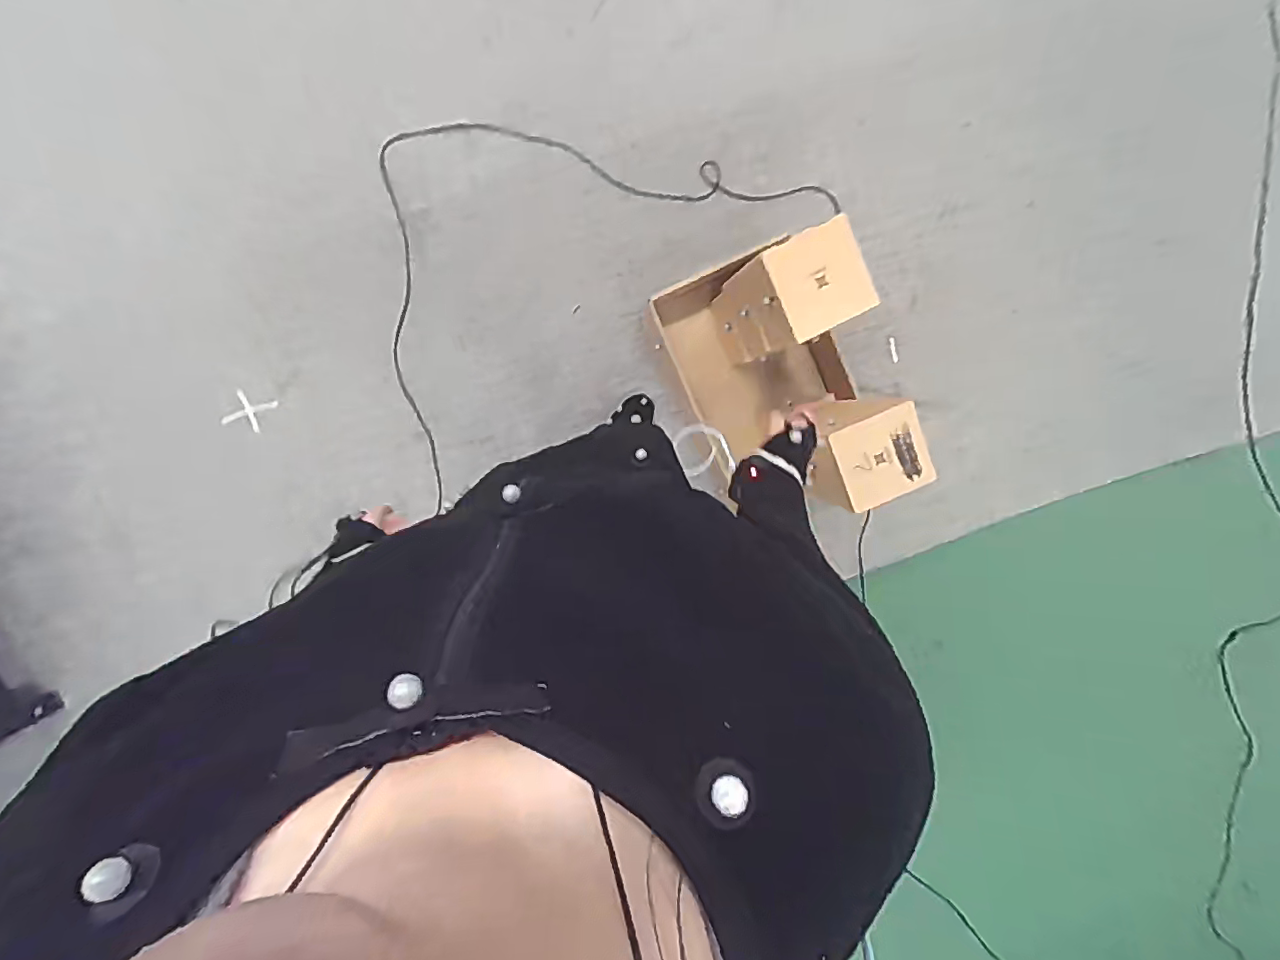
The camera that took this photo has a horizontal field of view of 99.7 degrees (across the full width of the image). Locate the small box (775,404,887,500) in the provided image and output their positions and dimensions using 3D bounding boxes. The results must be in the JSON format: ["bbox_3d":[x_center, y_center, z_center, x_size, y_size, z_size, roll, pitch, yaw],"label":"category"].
[{"bbox_3d":[0.429,-0.069,1.252,0.179,0.176,0.168,-22,100,-3],"label":"small box"}]

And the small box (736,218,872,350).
[{"bbox_3d":[0.306,-0.362,1.037,0.168,0.176,0.179,-26,99,0],"label":"small box"}]

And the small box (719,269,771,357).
[{"bbox_3d":[0.290,-0.385,1.197,0.168,0.176,0.179,-22,101,-1],"label":"small box"}]

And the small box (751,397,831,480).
[{"bbox_3d":[0.408,-0.105,1.412,0.168,0.176,0.179,-22,99,-3],"label":"small box"}]
